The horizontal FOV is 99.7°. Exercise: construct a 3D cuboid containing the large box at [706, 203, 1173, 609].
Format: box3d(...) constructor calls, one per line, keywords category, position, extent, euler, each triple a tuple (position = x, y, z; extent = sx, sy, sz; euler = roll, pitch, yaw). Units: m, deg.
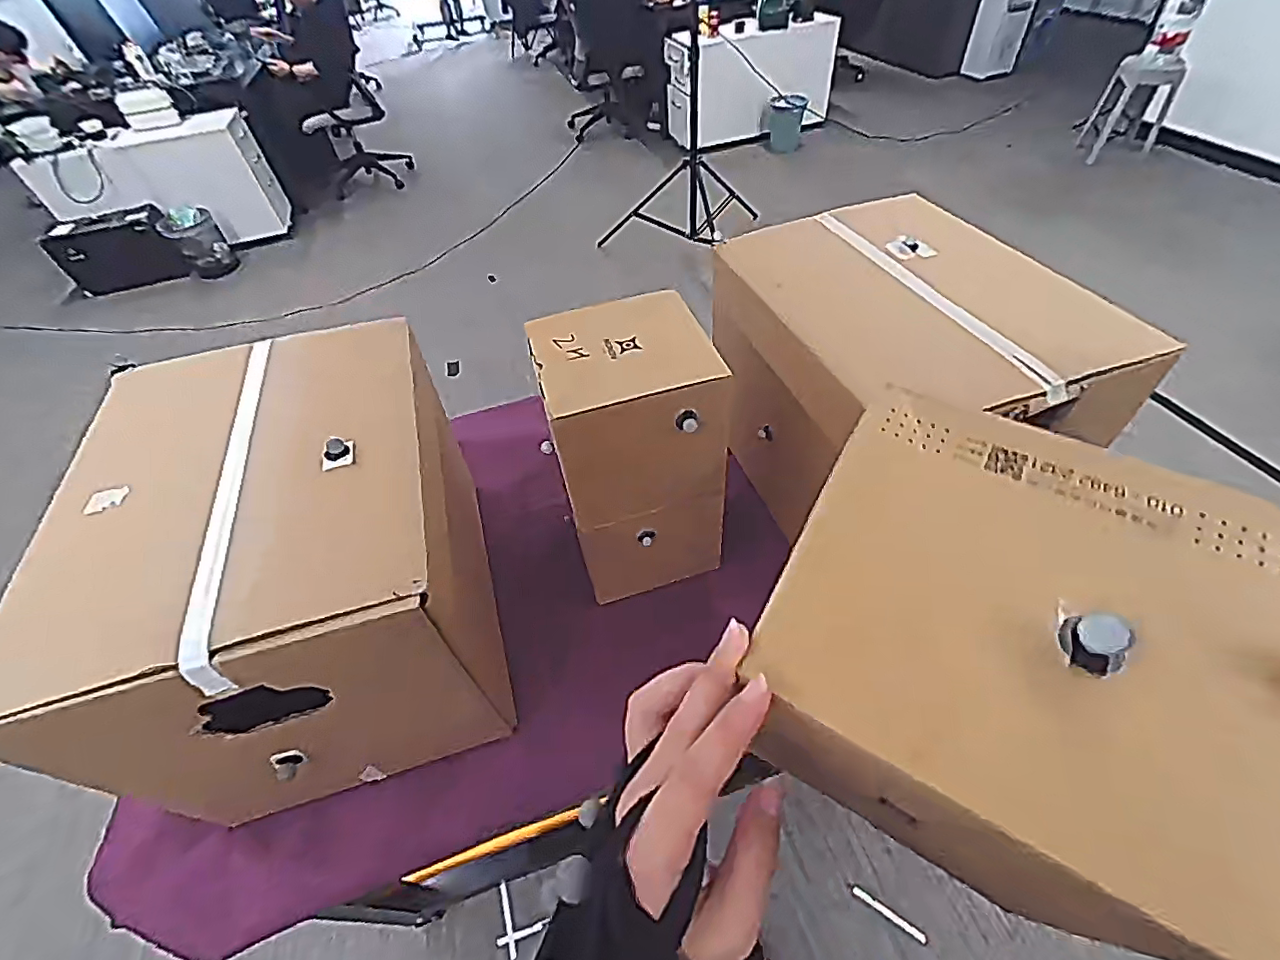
box3d(category="large box", position=(0.309, -0.111, 0.718), extent=(0.320, 0.320, 0.408), euler=(-17, 48, -10))
